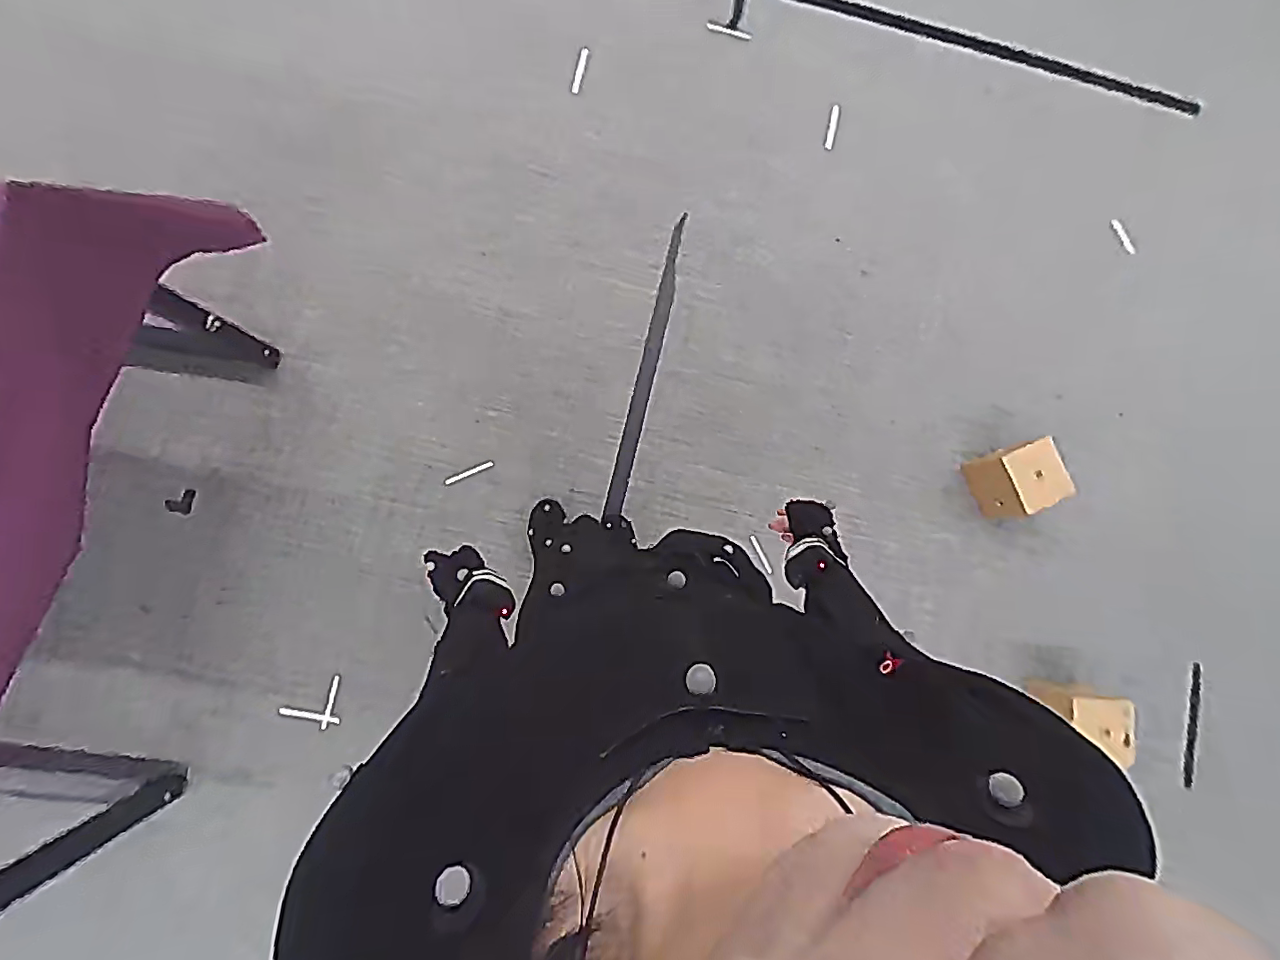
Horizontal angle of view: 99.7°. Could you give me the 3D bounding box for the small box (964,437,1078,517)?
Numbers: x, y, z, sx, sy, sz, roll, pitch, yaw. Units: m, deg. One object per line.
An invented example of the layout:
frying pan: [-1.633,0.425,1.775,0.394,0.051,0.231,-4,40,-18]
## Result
small box: [1.083,-0.002,1.551,0.168,0.176,0.179,-24,86,-8]

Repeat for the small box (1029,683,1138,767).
small box: [1.215,0.668,1.492,0.179,0.176,0.168,6,84,-3]
